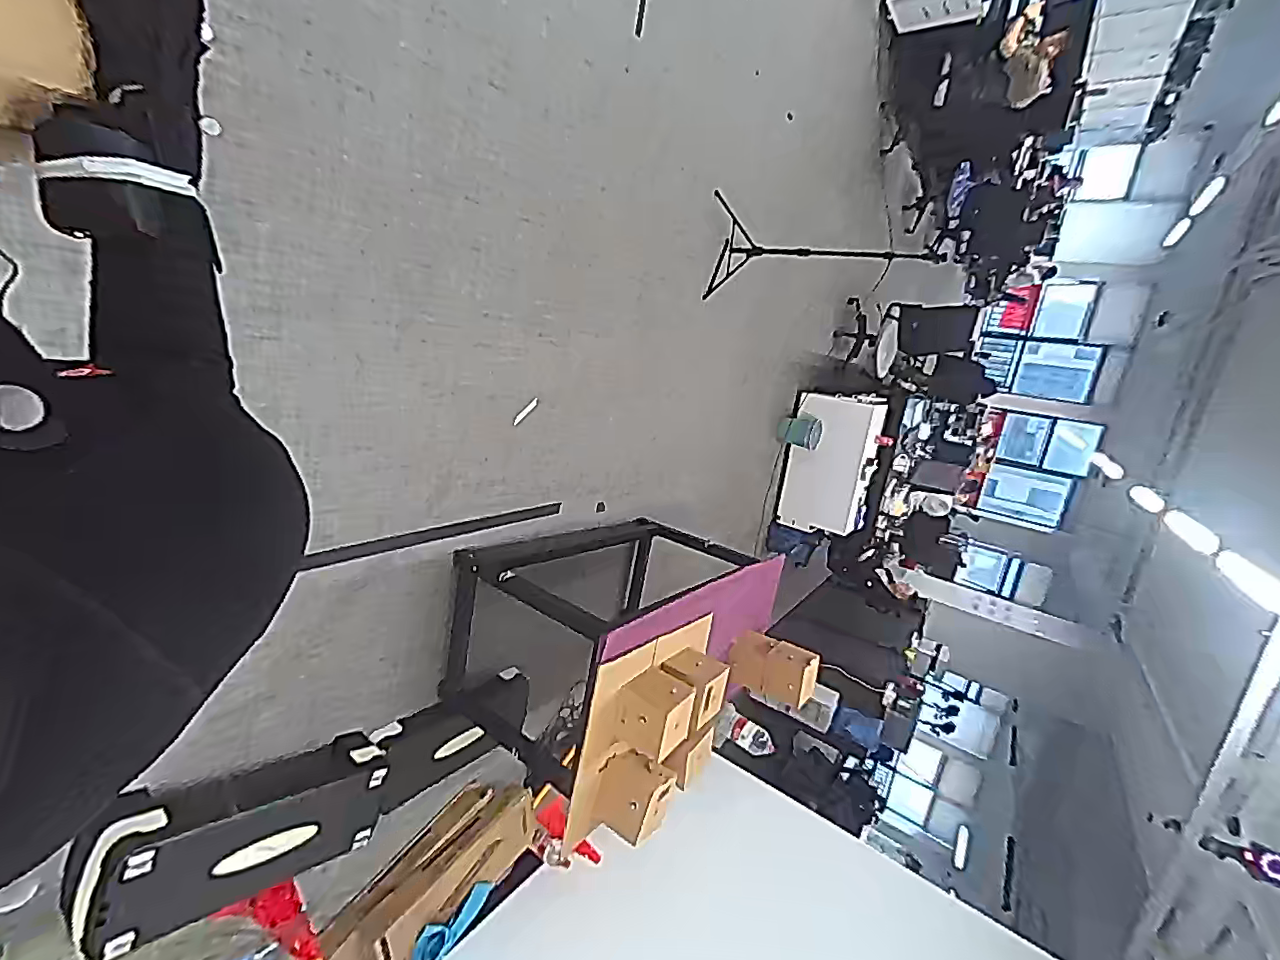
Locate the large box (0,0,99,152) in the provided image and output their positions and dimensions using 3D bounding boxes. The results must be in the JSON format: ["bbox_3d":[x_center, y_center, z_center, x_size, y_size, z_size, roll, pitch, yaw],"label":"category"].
[{"bbox_3d":[-0.590,-0.382,0.243,0.408,0.320,0.320,-18,120,-57],"label":"large box"}]
